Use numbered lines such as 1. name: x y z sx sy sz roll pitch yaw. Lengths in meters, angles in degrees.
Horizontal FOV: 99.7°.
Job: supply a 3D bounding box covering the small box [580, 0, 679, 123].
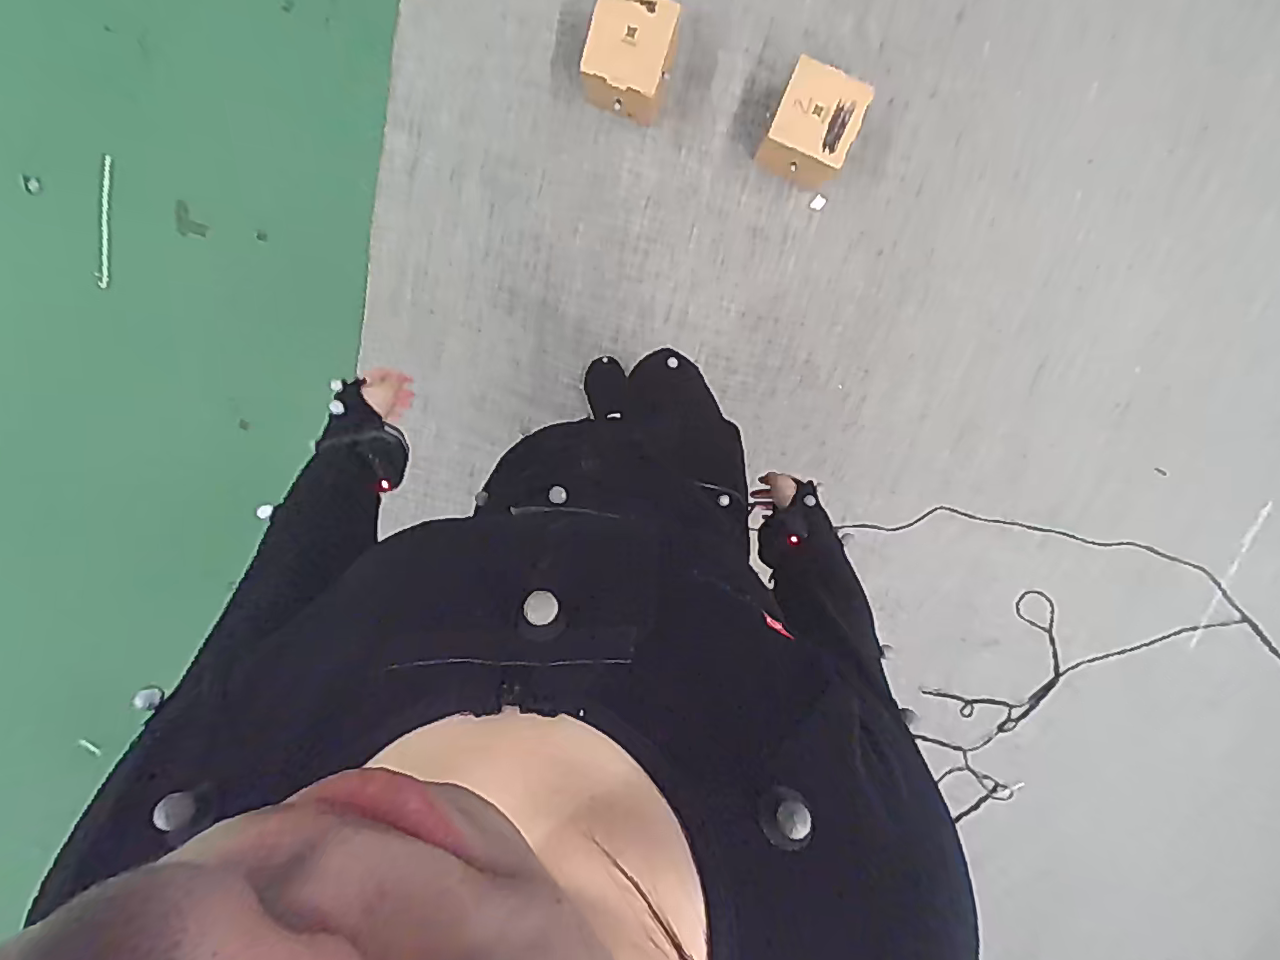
1. small box: -0.020 -0.925 1.186 0.168 0.176 0.179 19 105 -4
